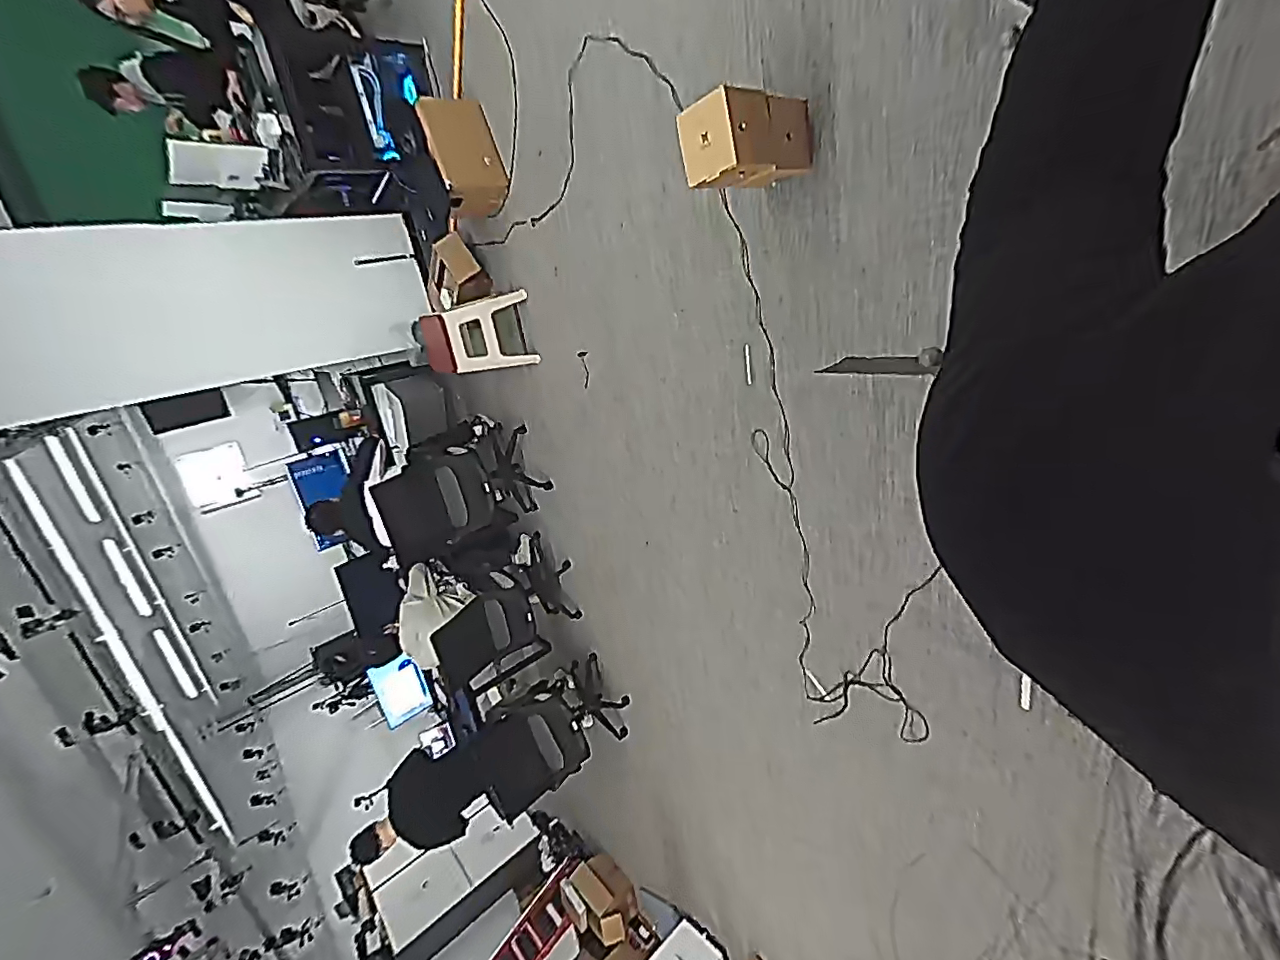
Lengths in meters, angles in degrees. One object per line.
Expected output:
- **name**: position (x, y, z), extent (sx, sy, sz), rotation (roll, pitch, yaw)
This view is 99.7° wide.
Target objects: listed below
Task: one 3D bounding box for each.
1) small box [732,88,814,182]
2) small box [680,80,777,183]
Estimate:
- **small box**: position (0.355, -0.934, 1.479), extent (0.168, 0.176, 0.179), rotation (10, 118, 50)
- **small box**: position (0.232, -0.885, 1.385), extent (0.168, 0.176, 0.179), rotation (5, 112, 50)
